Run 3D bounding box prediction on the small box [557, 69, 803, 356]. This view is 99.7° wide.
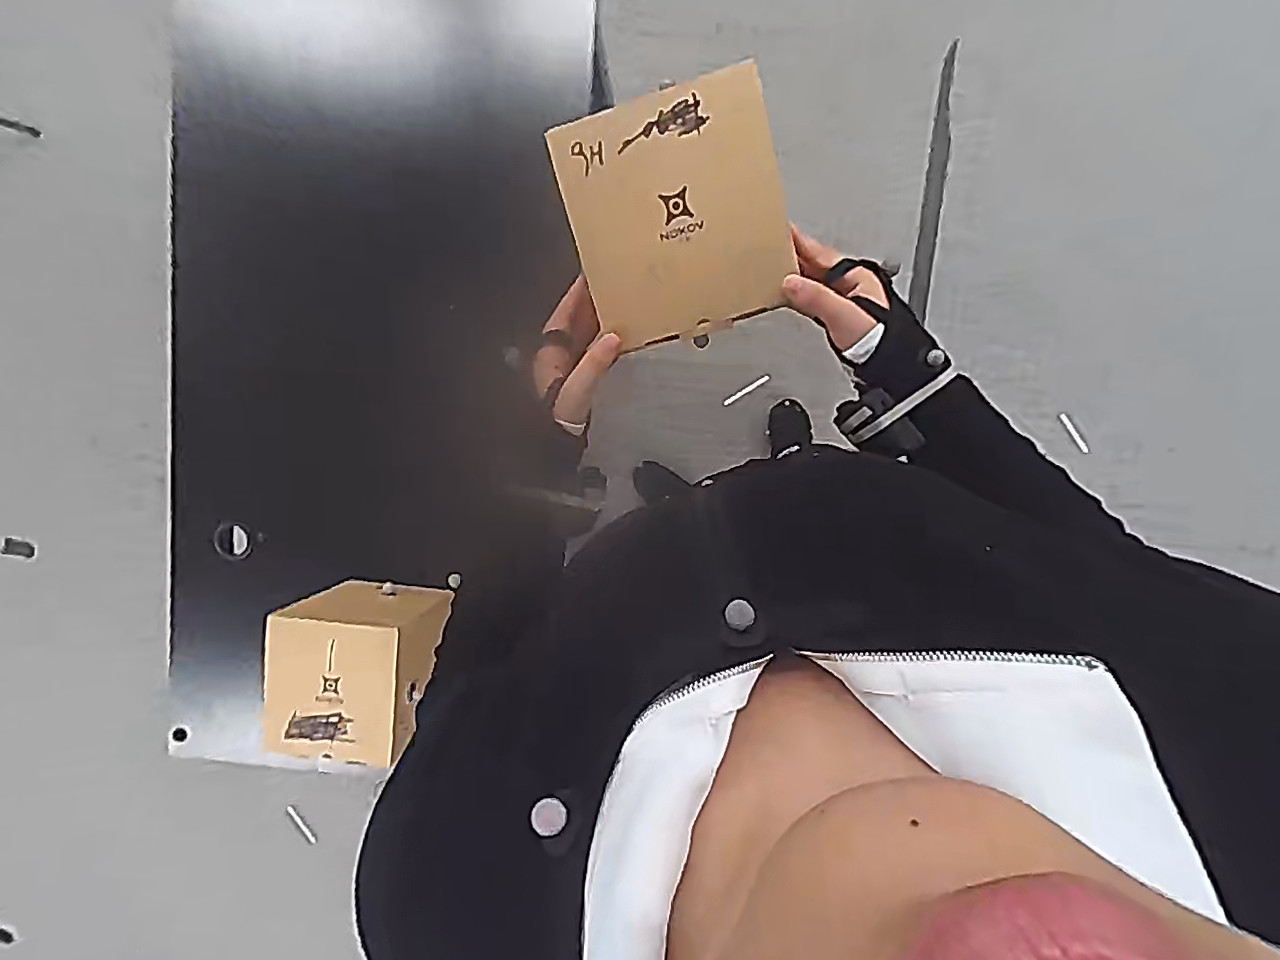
[{"bbox_3d":[0.039,-0.228,0.504,0.168,0.176,0.179,-14,106,7],"label":"small box"}]

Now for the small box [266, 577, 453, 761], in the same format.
[{"bbox_3d":[-0.369,0.245,0.737,0.168,0.176,0.179,5,94,3],"label":"small box"}]
